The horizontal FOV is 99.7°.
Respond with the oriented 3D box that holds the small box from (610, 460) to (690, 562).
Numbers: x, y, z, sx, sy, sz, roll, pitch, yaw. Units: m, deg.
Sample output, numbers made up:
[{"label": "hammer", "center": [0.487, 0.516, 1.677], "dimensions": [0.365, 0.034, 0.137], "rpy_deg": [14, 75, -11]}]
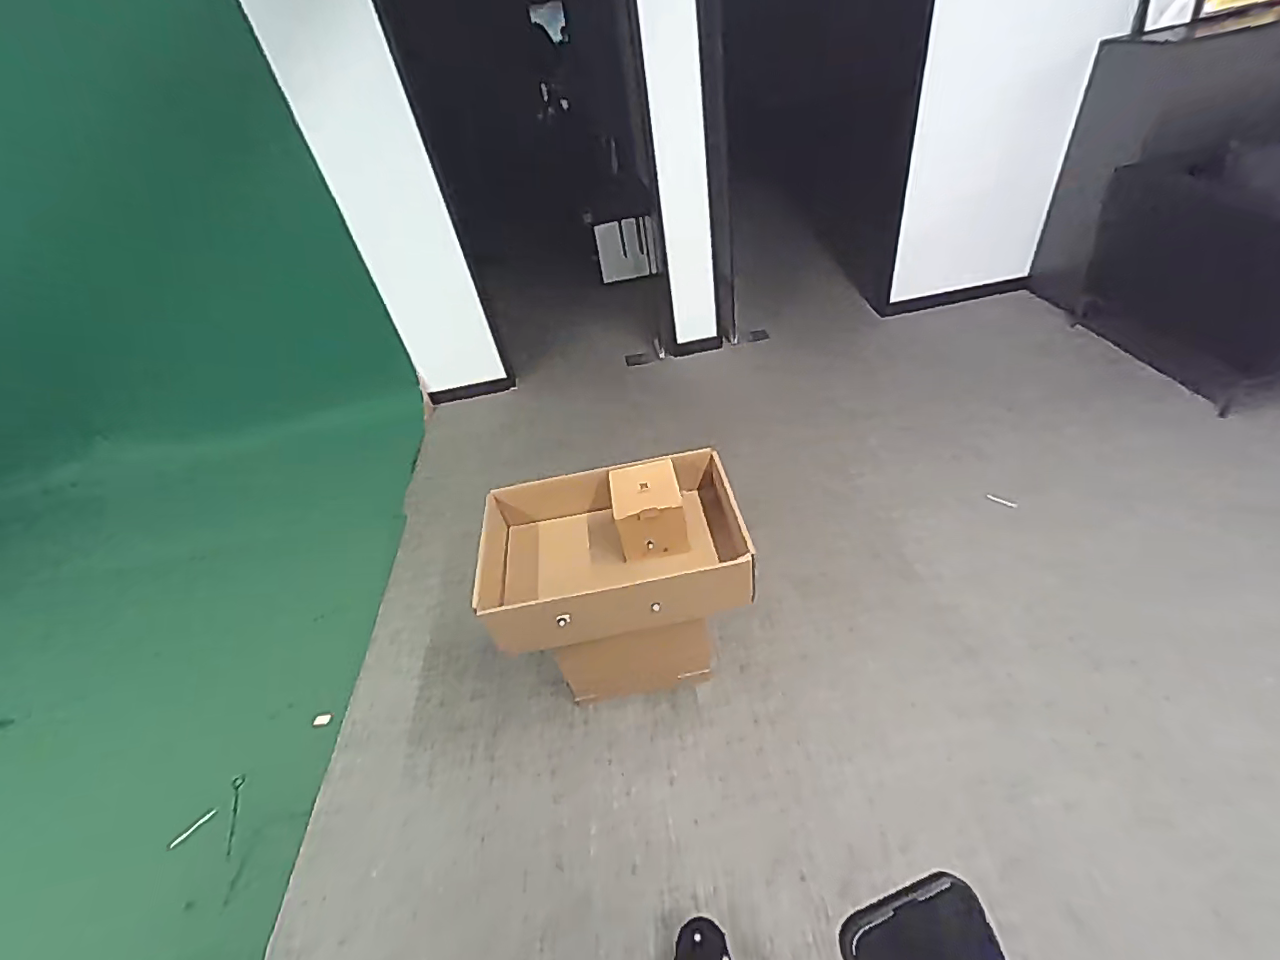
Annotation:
[{"label": "small box", "center": [0.025, 0.078, 1.364], "dimensions": [0.168, 0.176, 0.179], "rpy_deg": [-12, 42, 1]}]
